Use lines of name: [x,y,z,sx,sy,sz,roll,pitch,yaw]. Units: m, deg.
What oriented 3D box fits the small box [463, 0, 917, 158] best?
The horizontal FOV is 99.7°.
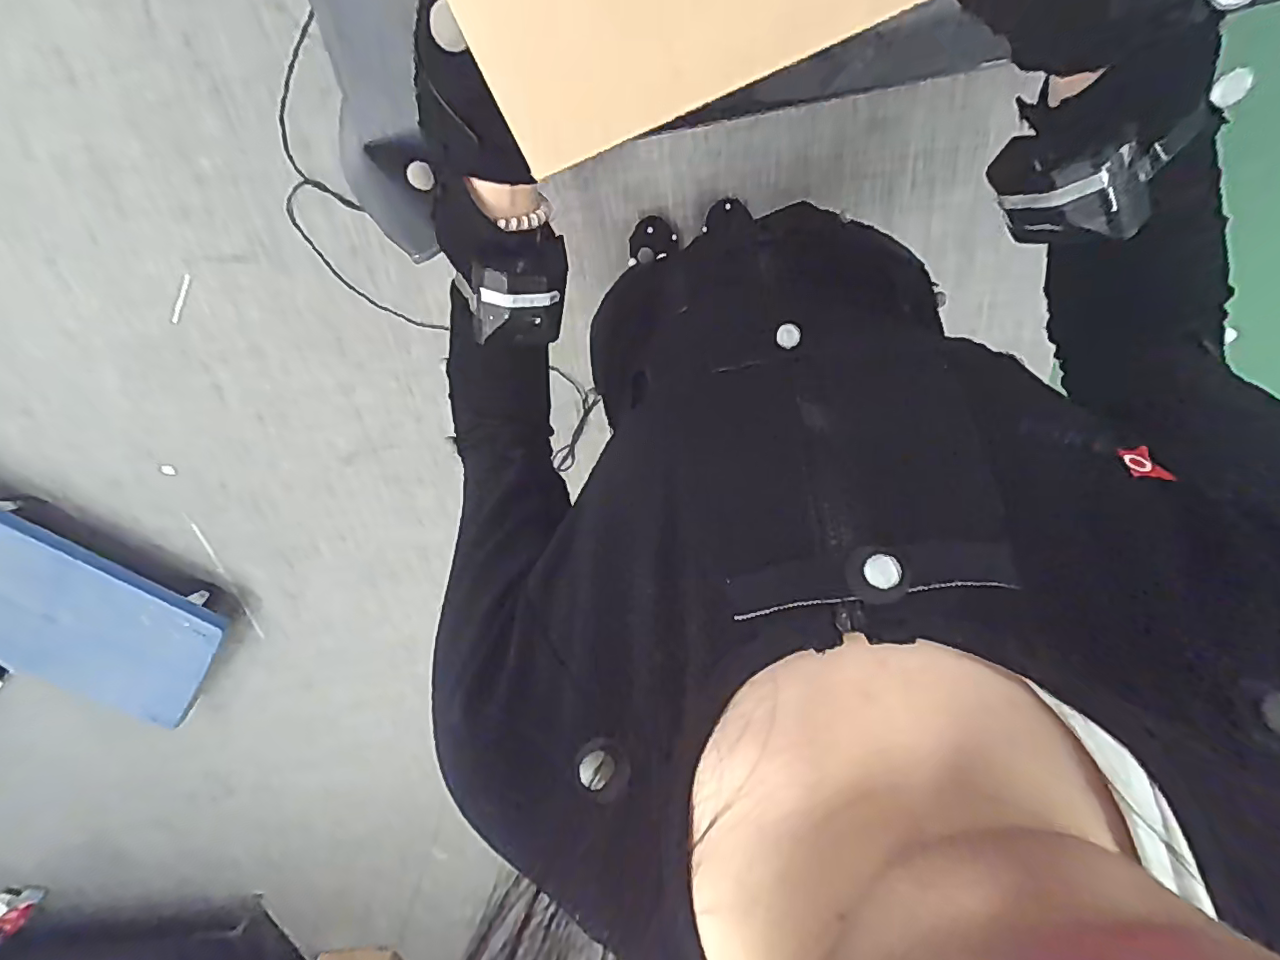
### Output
small box: [0.006,-0.247,0.169,0.168,0.176,0.179,-17,136,12]
